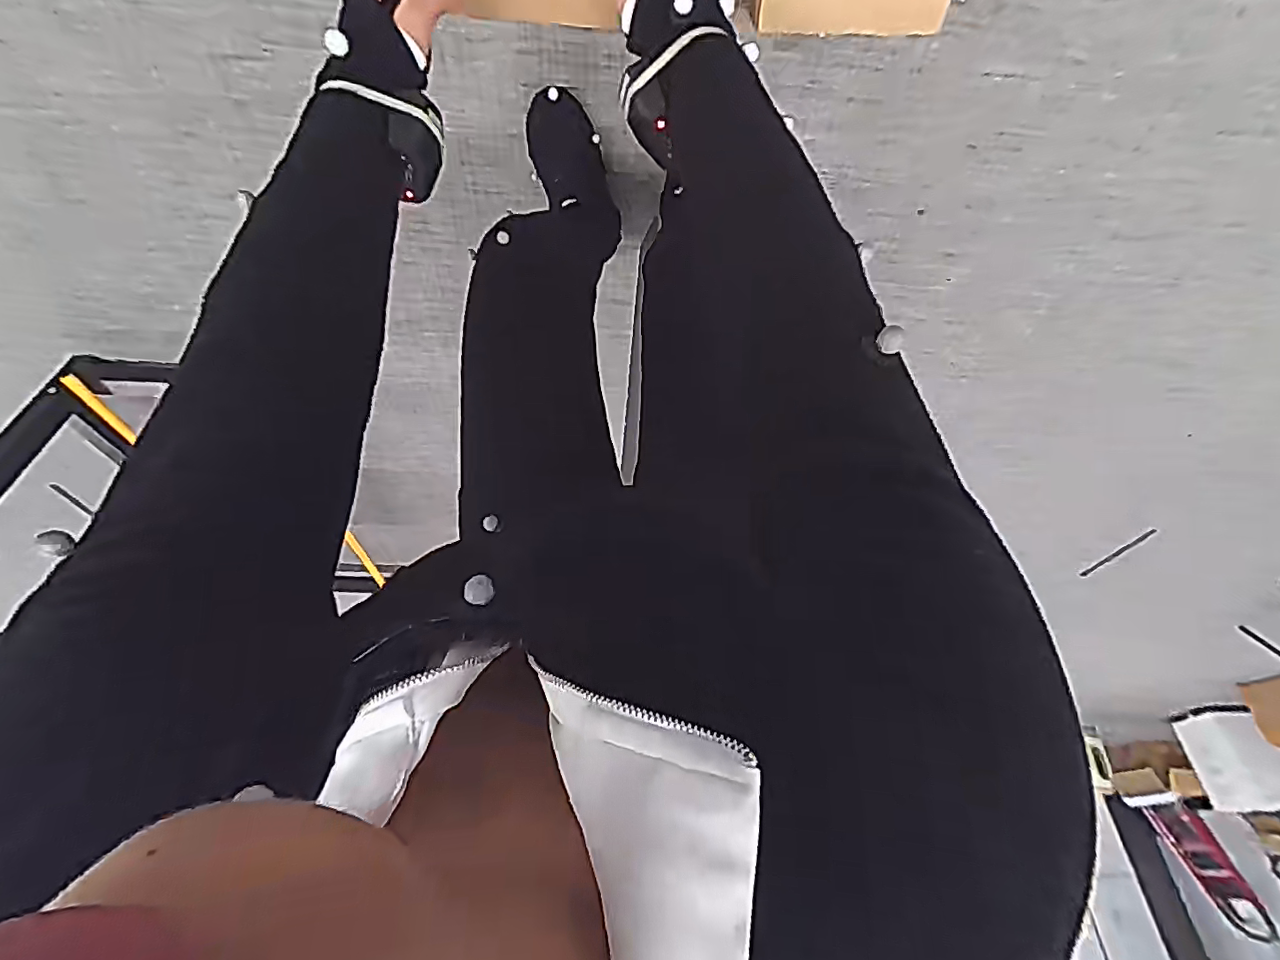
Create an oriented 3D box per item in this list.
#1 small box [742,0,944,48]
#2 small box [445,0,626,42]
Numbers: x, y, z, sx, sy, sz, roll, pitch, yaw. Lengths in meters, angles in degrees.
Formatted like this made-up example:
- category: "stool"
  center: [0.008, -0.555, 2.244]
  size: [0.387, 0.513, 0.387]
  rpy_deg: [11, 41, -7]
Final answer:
- category: "small box"
  center: [0.193, -0.532, 0.502]
  size: [0.179, 0.176, 0.168]
  rpy_deg: [1, 144, -1]
- category: "small box"
  center: [-0.091, -0.542, 0.493]
  size: [0.168, 0.176, 0.179]
  rpy_deg: [4, 145, -2]
